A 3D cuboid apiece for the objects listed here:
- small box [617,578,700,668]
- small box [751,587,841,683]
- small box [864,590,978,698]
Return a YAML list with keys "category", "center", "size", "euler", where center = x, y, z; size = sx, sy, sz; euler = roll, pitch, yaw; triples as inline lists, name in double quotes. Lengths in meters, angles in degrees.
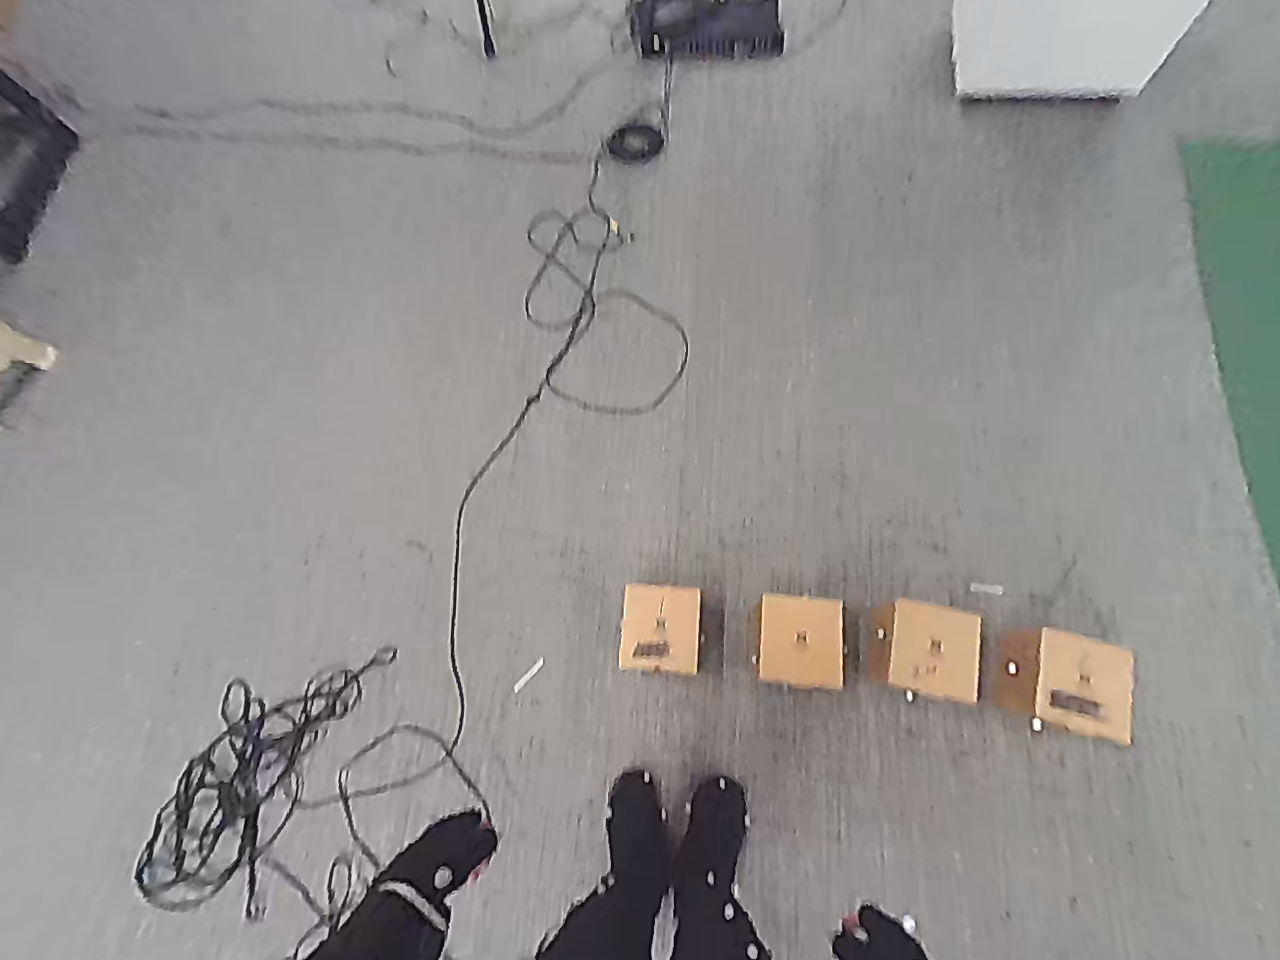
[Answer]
- category: "small box"
  center: [0.048, 0.325, 1.219]
  size: [0.168, 0.176, 0.179]
  euler: [3, 71, 7]
- category: "small box"
  center: [0.336, 0.340, 1.185]
  size: [0.168, 0.176, 0.179]
  euler: [4, 73, 7]
- category: "small box"
  center: [0.591, 0.348, 1.153]
  size: [0.168, 0.176, 0.179]
  euler: [11, 74, 10]
